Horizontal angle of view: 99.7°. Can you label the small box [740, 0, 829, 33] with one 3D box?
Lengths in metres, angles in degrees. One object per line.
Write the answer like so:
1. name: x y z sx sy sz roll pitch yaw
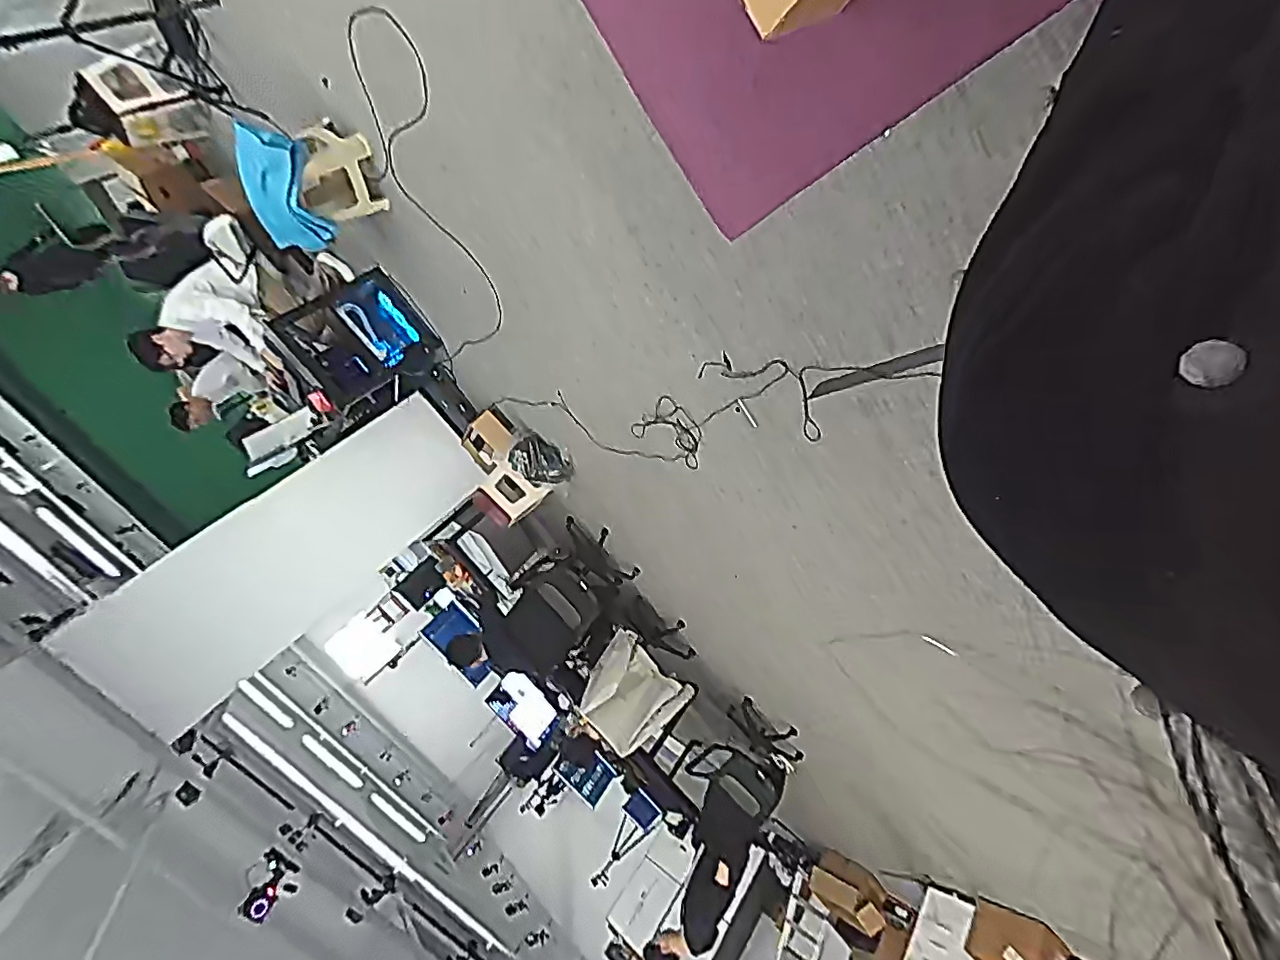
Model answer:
1. small box: 0.159 -0.547 0.461 0.168 0.176 0.179 52 150 -13
